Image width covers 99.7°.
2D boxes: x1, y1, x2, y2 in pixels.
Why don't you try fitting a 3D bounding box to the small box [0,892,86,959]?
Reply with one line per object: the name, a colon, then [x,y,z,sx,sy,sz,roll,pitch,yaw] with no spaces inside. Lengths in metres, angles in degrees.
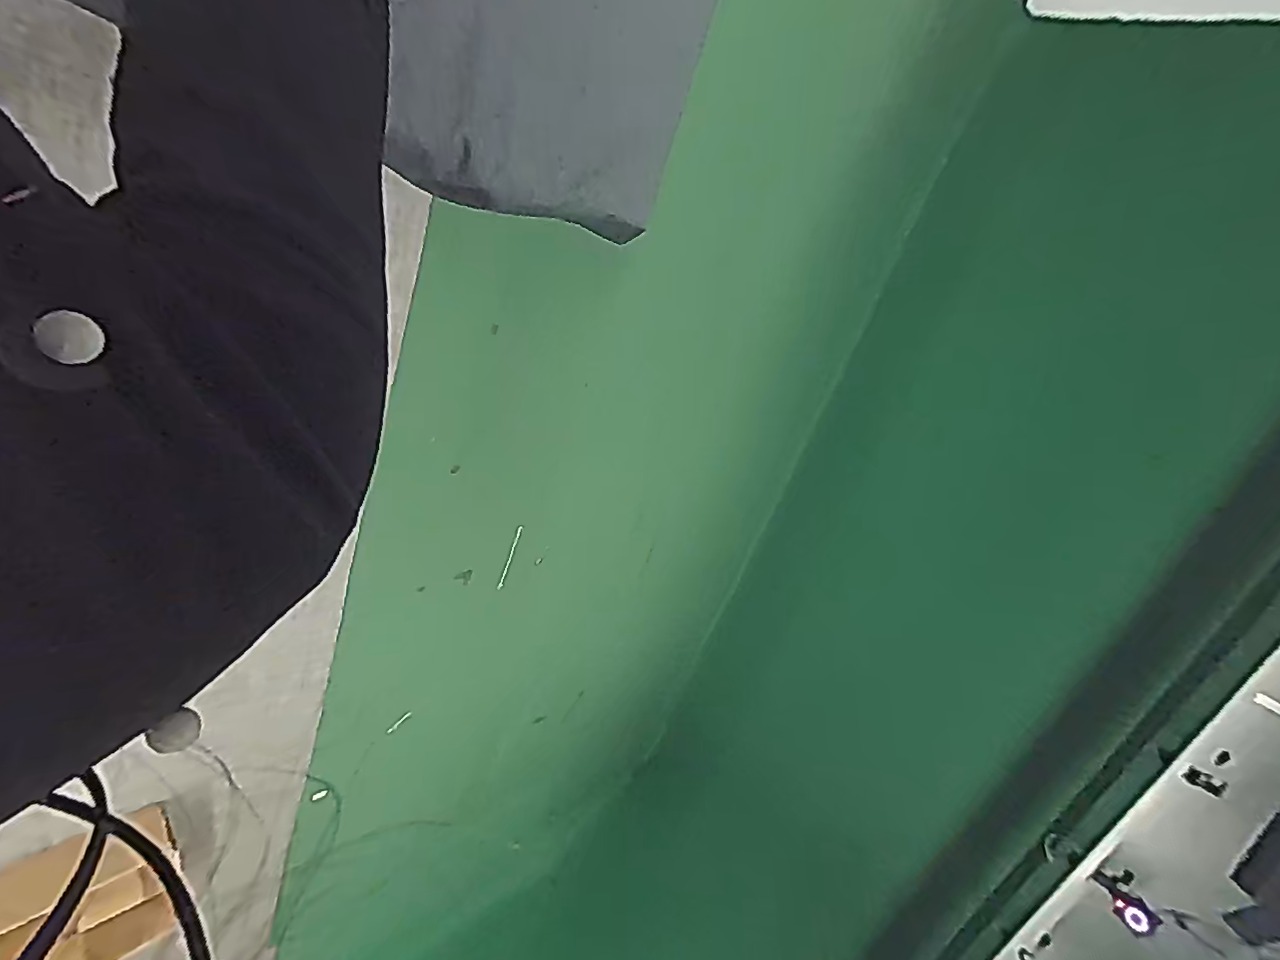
small box: [-1.608,1.261,1.438,0.179,0.176,0.168,-9,123,-47]
